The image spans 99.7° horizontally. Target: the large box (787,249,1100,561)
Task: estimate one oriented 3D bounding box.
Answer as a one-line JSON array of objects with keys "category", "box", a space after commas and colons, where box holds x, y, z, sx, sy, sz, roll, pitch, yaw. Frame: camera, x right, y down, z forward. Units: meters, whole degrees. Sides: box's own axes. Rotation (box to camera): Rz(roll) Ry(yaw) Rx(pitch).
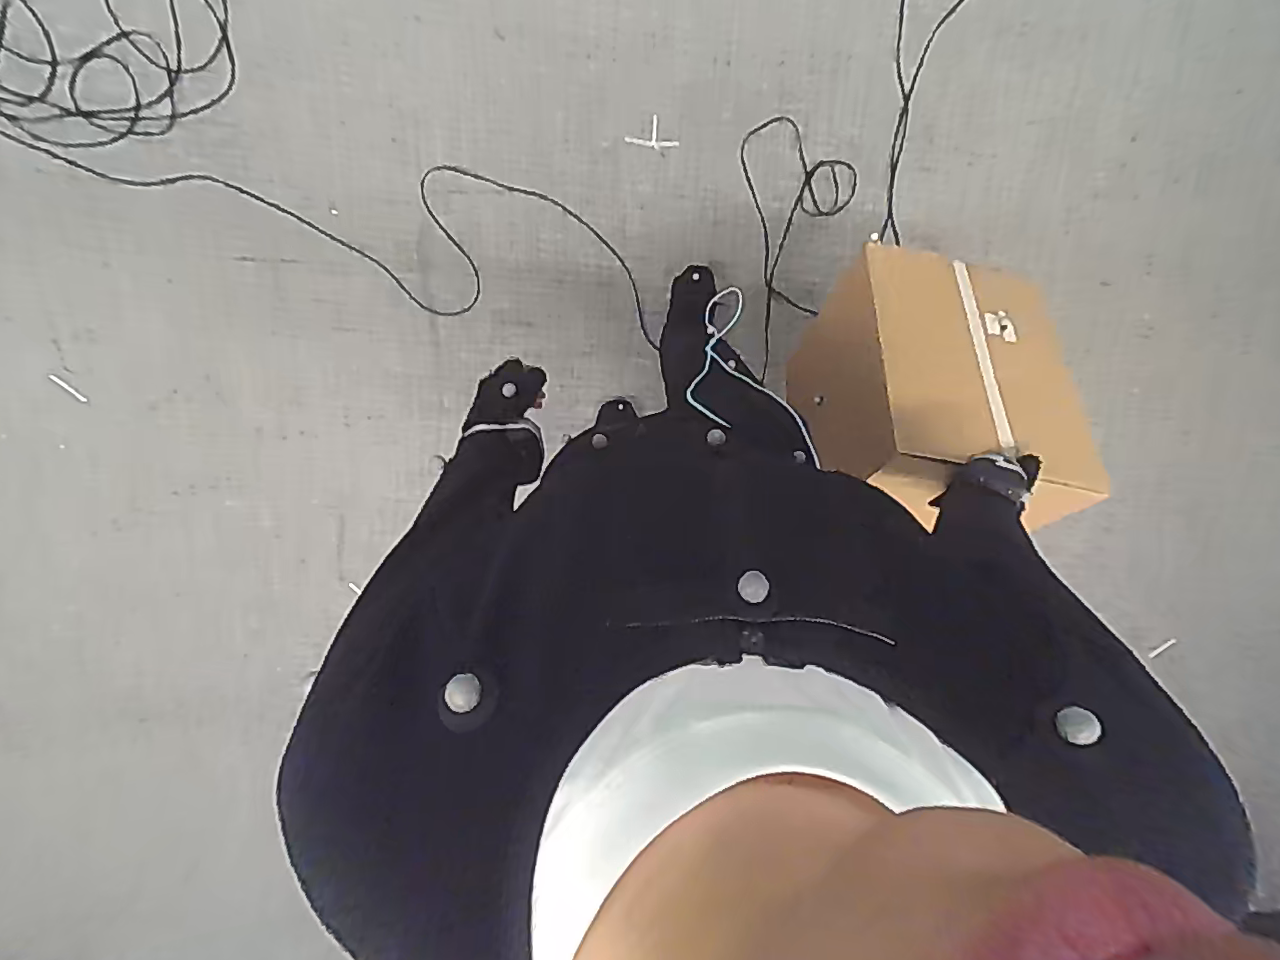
[{"category": "large box", "box": [0.464, -0.112, 0.934, 0.320, 0.320, 0.408, 11, 61, -7]}]
